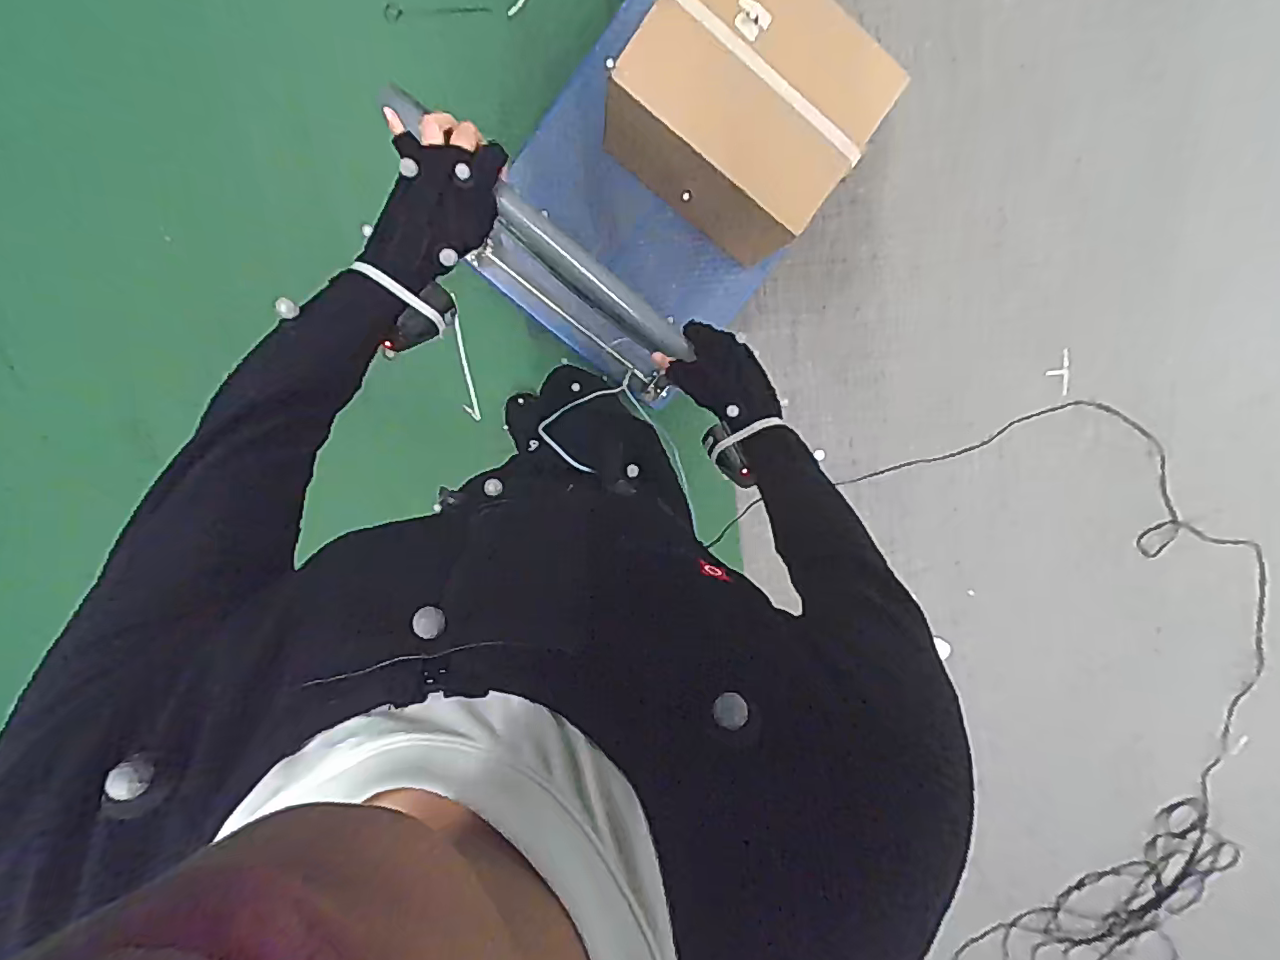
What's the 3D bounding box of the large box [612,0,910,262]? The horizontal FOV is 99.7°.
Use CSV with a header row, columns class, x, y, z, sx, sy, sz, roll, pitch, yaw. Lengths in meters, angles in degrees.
class,x,y,z,sx,sy,sz,roll,pitch,yaw
large box,0.195,-0.686,1.028,0.408,0.320,0.320,35,96,-10
